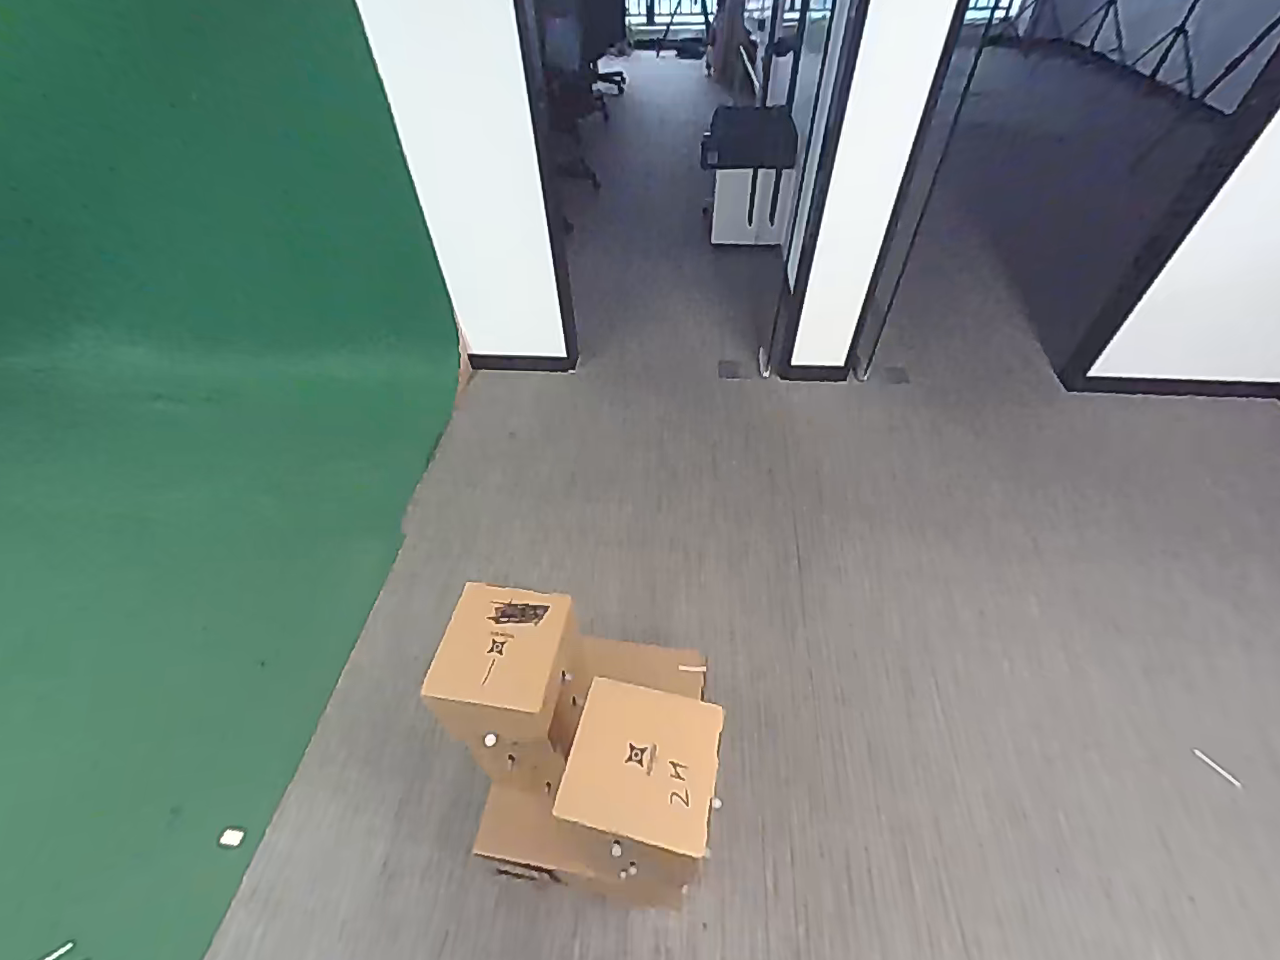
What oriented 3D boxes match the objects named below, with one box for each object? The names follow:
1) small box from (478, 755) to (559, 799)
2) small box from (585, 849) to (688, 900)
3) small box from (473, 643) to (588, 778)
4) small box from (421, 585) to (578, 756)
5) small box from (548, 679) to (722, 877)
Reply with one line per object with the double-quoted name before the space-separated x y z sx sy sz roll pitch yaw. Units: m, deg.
"small box" -0.190 0.504 1.053 0.168 0.176 0.179 6 46 7
"small box" 0.008 0.602 0.950 0.168 0.176 0.179 7 46 8
"small box" -0.189 0.389 0.937 0.168 0.176 0.179 6 48 7
"small box" -0.194 0.285 0.810 0.168 0.176 0.179 6 47 8
"small box" 0.002 0.386 0.698 0.179 0.176 0.168 10 48 11
